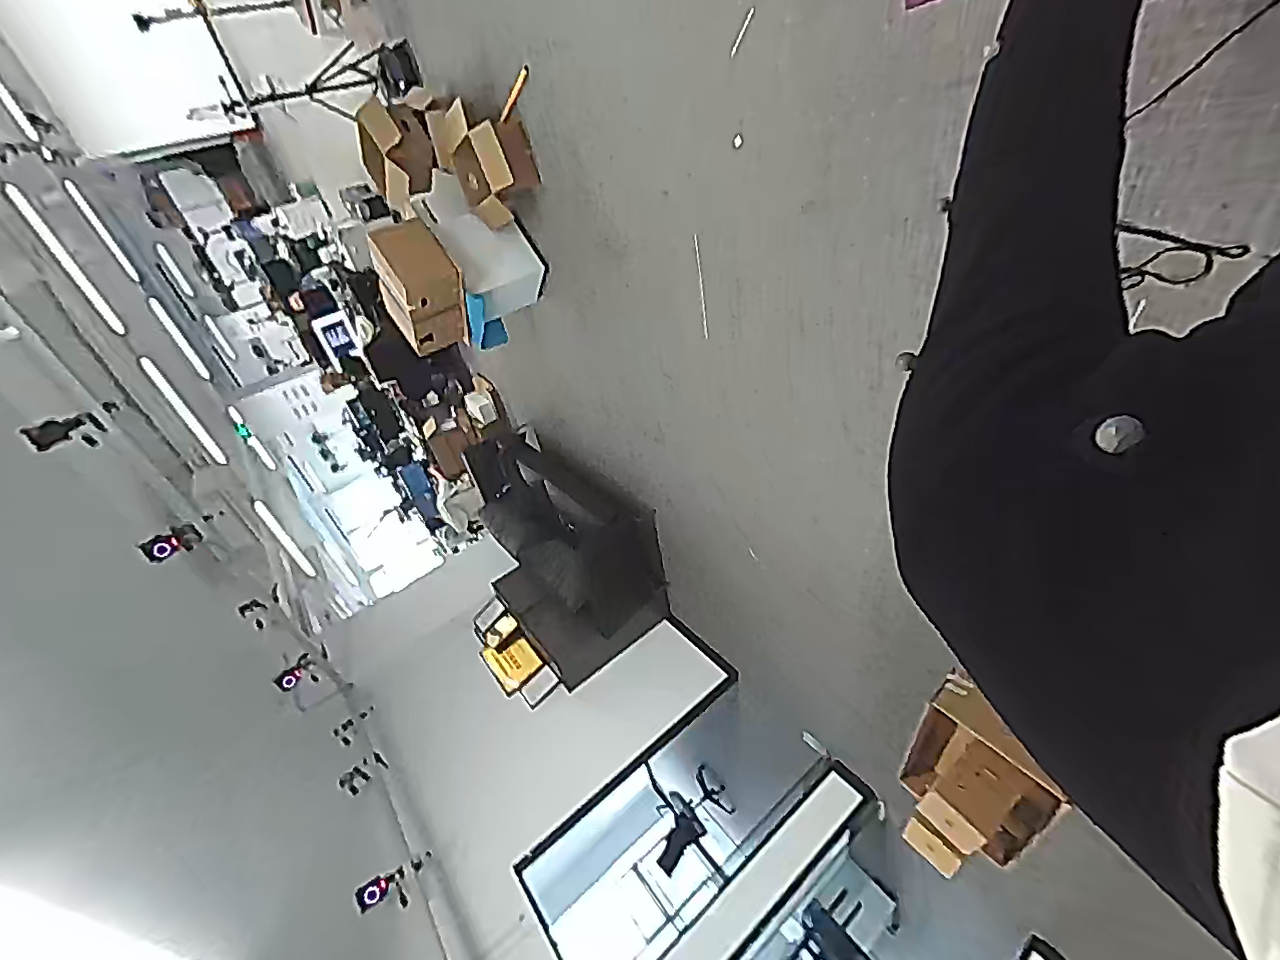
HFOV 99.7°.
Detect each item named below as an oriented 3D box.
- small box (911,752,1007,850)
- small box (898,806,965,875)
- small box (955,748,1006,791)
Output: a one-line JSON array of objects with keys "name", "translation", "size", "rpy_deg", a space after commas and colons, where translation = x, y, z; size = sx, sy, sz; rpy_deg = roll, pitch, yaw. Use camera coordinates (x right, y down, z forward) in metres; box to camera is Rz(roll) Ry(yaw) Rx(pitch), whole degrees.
[{"name": "small box", "translation": [0.955, 0.954, 1.616], "size": [0.168, 0.176, 0.179], "rpy_deg": [40, 150, 36]}, {"name": "small box", "translation": [0.985, 1.138, 1.777], "size": [0.168, 0.176, 0.179], "rpy_deg": [35, 145, 42]}, {"name": "small box", "translation": [1.111, 1.065, 1.849], "size": [0.168, 0.176, 0.179], "rpy_deg": [34, 145, 40]}]
